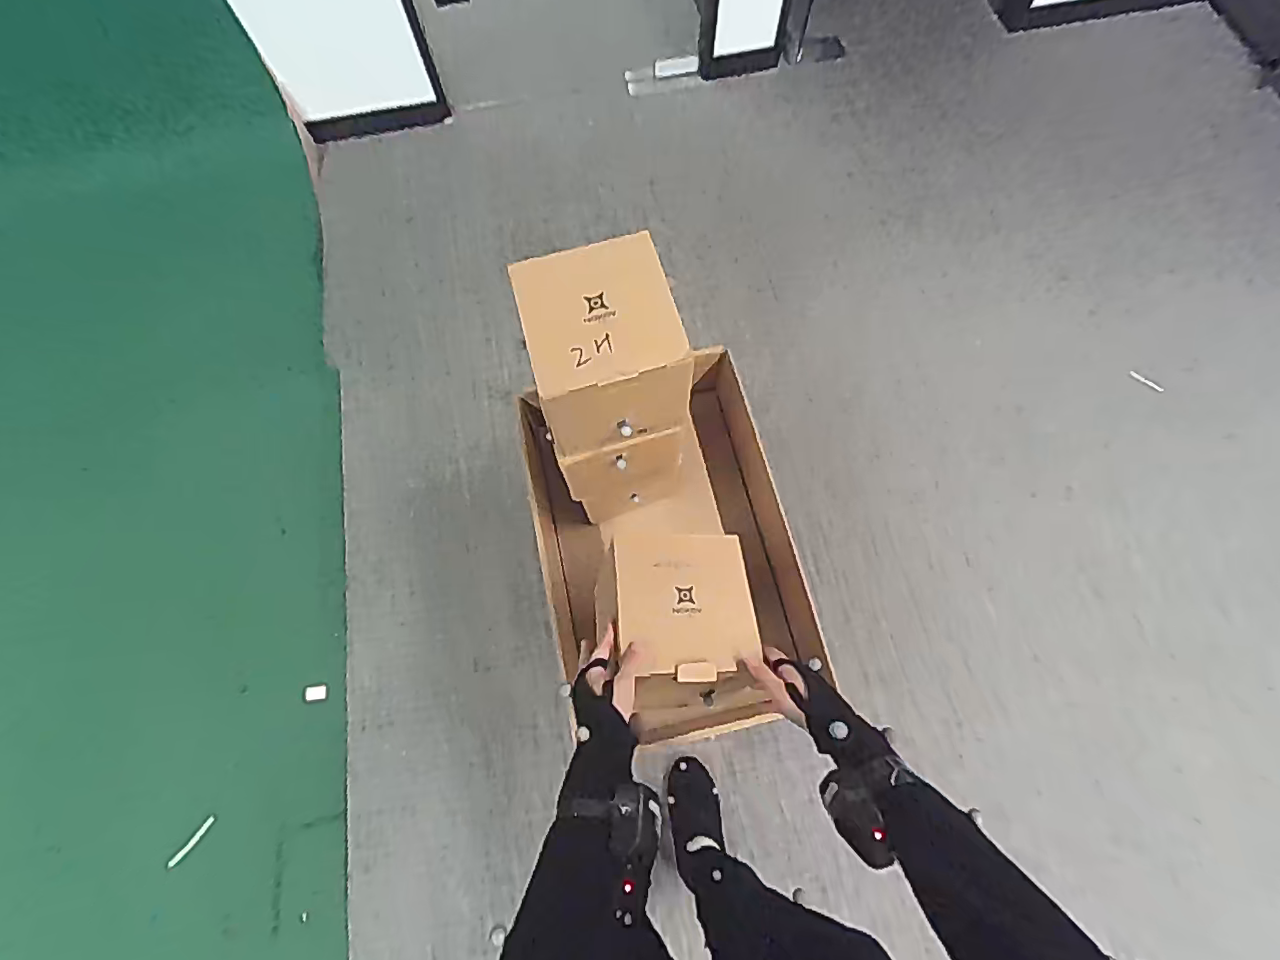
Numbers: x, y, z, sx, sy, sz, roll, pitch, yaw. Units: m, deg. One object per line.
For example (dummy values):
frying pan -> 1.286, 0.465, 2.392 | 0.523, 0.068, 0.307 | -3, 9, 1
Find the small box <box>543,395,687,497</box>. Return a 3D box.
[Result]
small box -> -0.040, -0.090, 0.814 | 0.179, 0.176, 0.168 | -17, 72, -4

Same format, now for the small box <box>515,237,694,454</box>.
small box -> -0.041, -0.155, 0.662 | 0.168, 0.176, 0.179 | -15, 72, -3

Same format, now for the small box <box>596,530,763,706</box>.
small box -> 0.038, 0.184, 0.692 | 0.168, 0.176, 0.179 | 5, 54, -12
